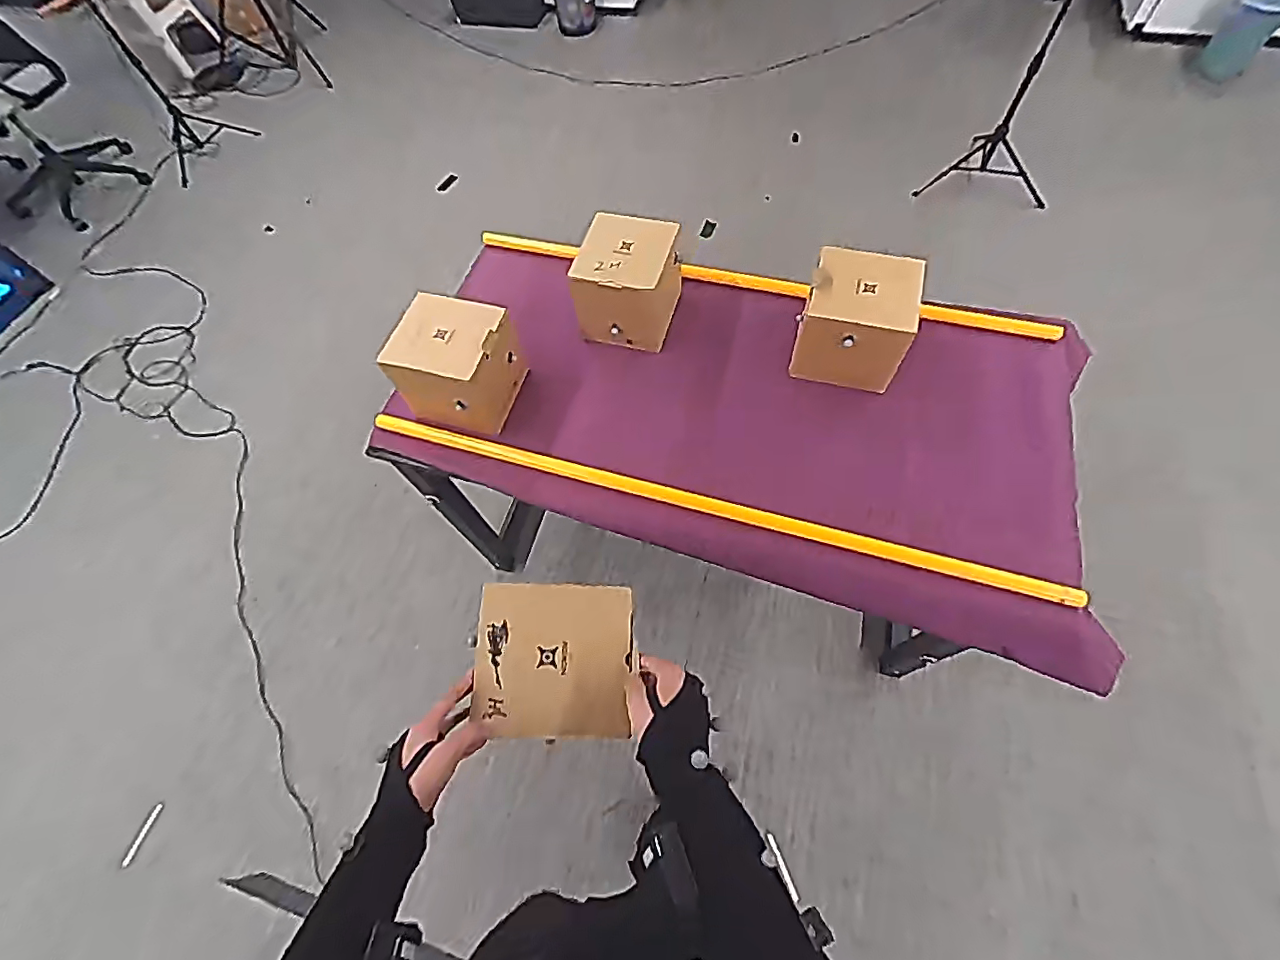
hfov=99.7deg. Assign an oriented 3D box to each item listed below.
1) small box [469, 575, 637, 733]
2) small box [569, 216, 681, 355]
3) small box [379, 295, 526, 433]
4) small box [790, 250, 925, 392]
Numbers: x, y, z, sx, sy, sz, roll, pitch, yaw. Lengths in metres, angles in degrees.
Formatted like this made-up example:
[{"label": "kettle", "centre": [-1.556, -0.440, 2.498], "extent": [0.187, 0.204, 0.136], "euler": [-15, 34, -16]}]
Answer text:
[{"label": "small box", "centre": [-0.105, 0.217, 0.679], "extent": [0.179, 0.176, 0.168], "euler": [4, 70, -8]}, {"label": "small box", "centre": [-0.021, -0.376, 1.055], "extent": [0.168, 0.176, 0.179], "euler": [14, 66, 12]}, {"label": "small box", "centre": [-0.328, -0.205, 0.990], "extent": [0.179, 0.176, 0.168], "euler": [14, 64, 9]}, {"label": "small box", "centre": [0.383, -0.279, 0.972], "extent": [0.179, 0.176, 0.168], "euler": [13, 66, 12]}]
